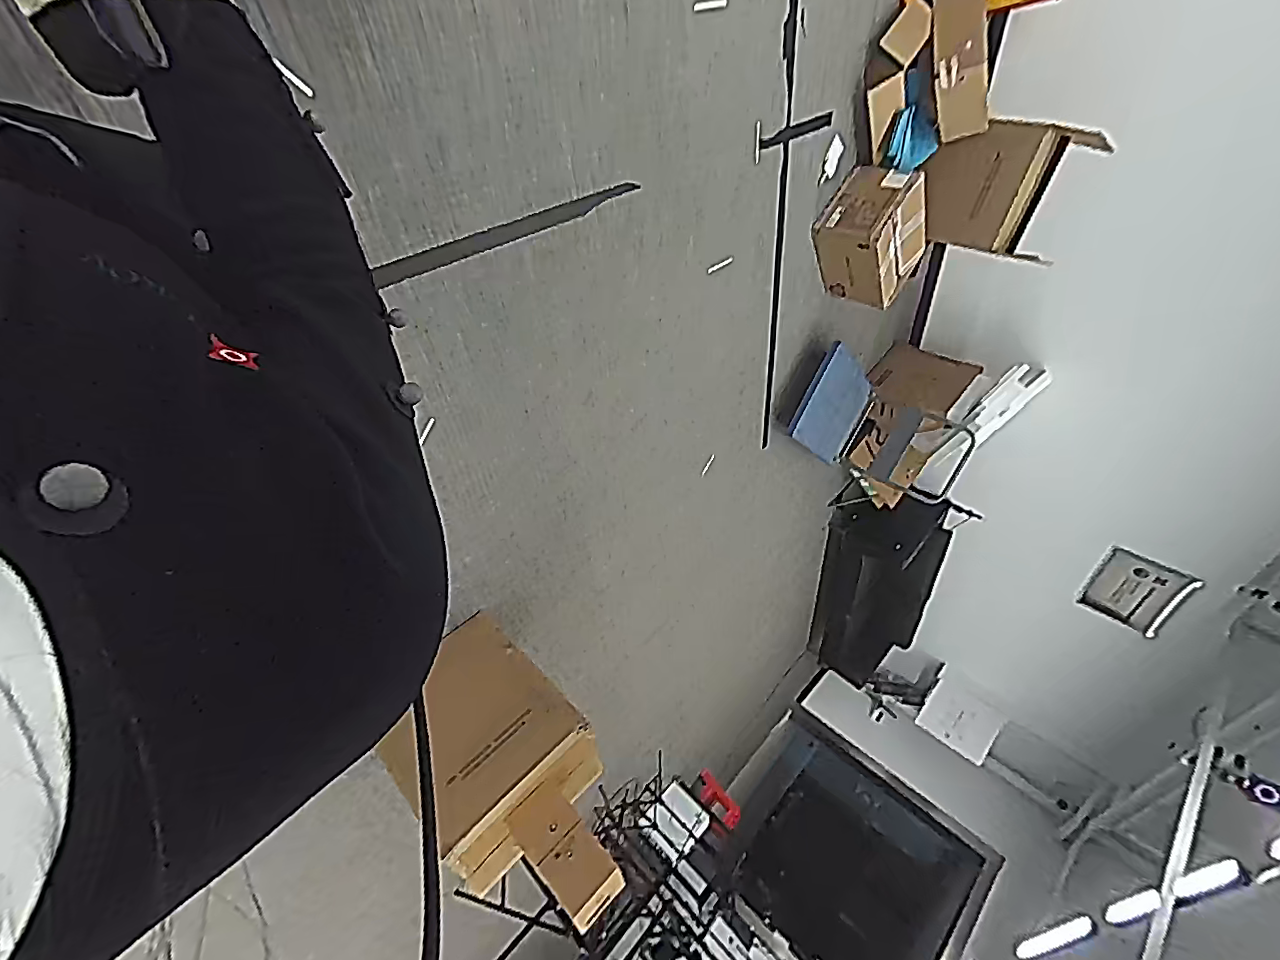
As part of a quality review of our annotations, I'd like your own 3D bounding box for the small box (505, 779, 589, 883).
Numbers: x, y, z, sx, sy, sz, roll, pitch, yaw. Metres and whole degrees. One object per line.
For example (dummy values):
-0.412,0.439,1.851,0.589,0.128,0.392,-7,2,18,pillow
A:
-0.279,1.049,1.628,0.179,0.176,0.168,-34,138,-30,small box
